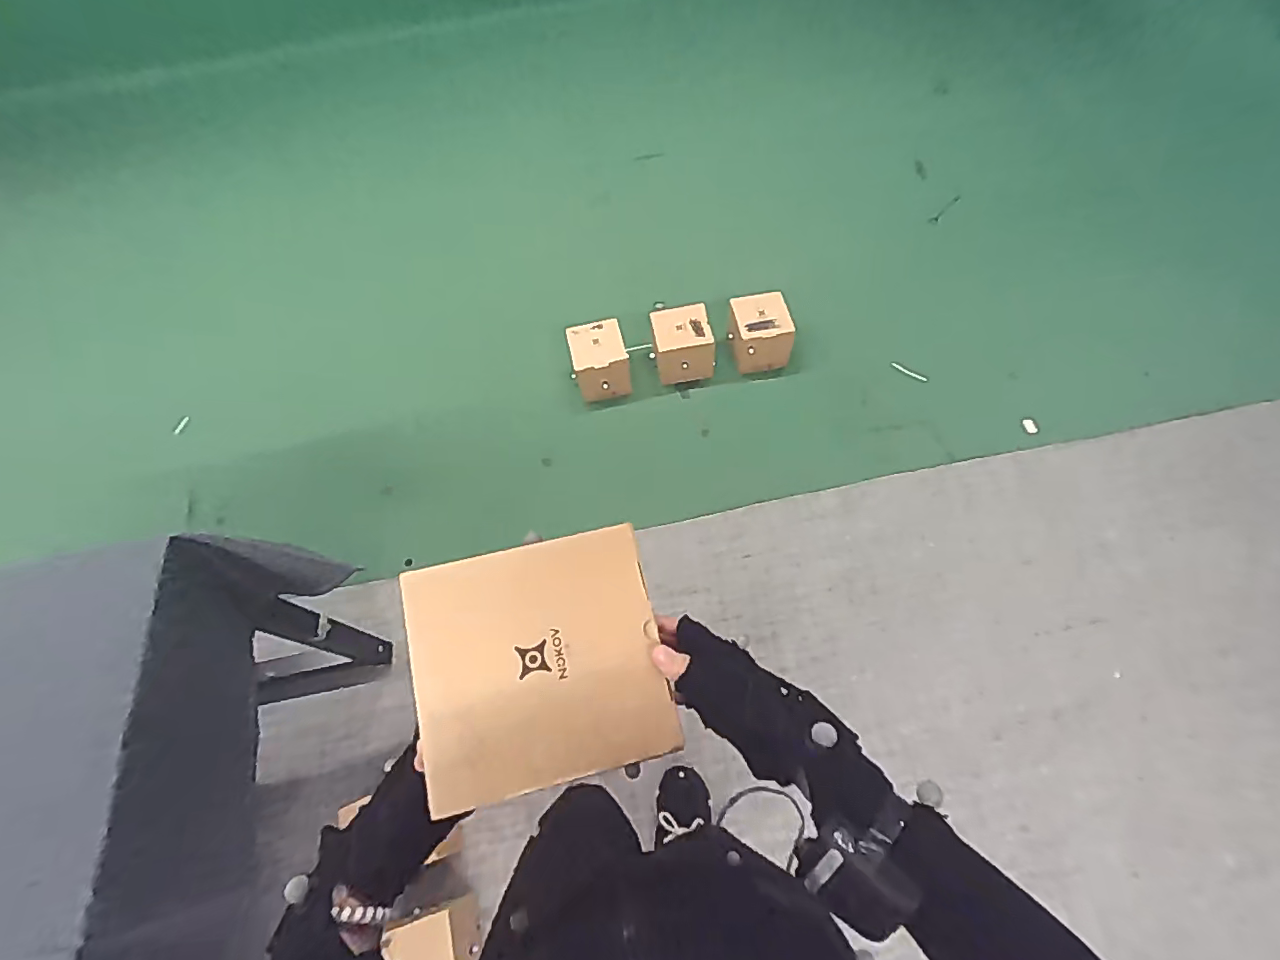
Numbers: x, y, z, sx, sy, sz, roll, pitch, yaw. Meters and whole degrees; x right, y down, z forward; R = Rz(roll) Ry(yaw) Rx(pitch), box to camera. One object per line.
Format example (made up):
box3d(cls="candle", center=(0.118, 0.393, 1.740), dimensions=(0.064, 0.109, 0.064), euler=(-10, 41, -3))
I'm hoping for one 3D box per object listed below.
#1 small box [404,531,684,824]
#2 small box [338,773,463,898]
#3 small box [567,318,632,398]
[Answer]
box3d(cls="small box", center=(-0.076, 0.155, 0.456), dimensions=(0.179, 0.176, 0.168), euler=(-12, 74, -9))
box3d(cls="small box", center=(-0.507, 0.750, 1.159), dimensions=(0.179, 0.176, 0.168), euler=(-22, 64, -7))
box3d(cls="small box", center=(-0.125, -0.378, 1.712), dimensions=(0.168, 0.176, 0.179), euler=(-12, 64, -2))
